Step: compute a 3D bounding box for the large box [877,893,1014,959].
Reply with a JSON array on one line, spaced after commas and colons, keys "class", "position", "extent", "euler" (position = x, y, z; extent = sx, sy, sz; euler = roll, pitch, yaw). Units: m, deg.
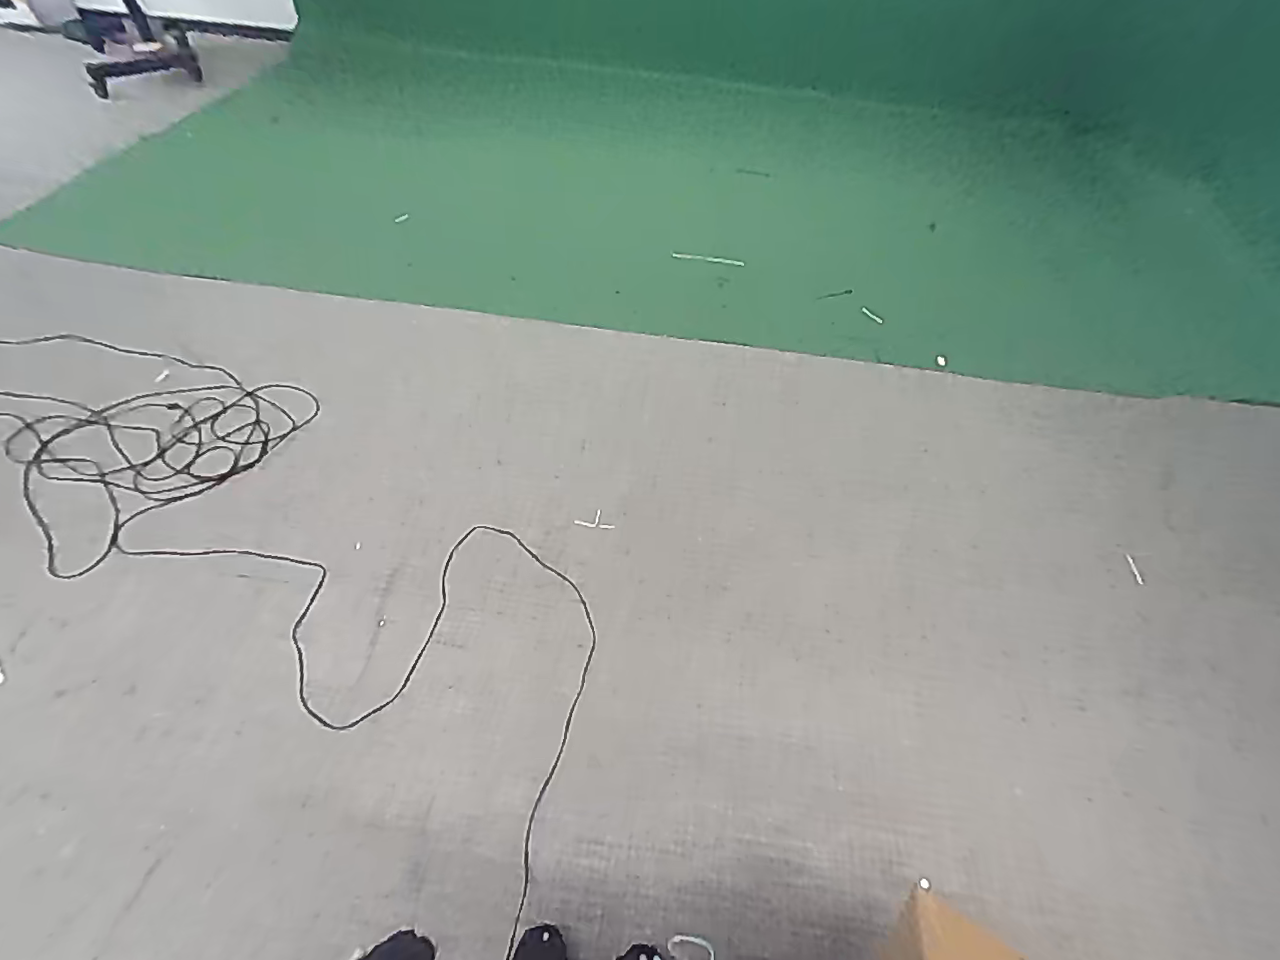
[{"class": "large box", "position": [0.390, 0.786, 0.570], "extent": [0.320, 0.408, 0.320], "euler": [28, 93, 24]}]
